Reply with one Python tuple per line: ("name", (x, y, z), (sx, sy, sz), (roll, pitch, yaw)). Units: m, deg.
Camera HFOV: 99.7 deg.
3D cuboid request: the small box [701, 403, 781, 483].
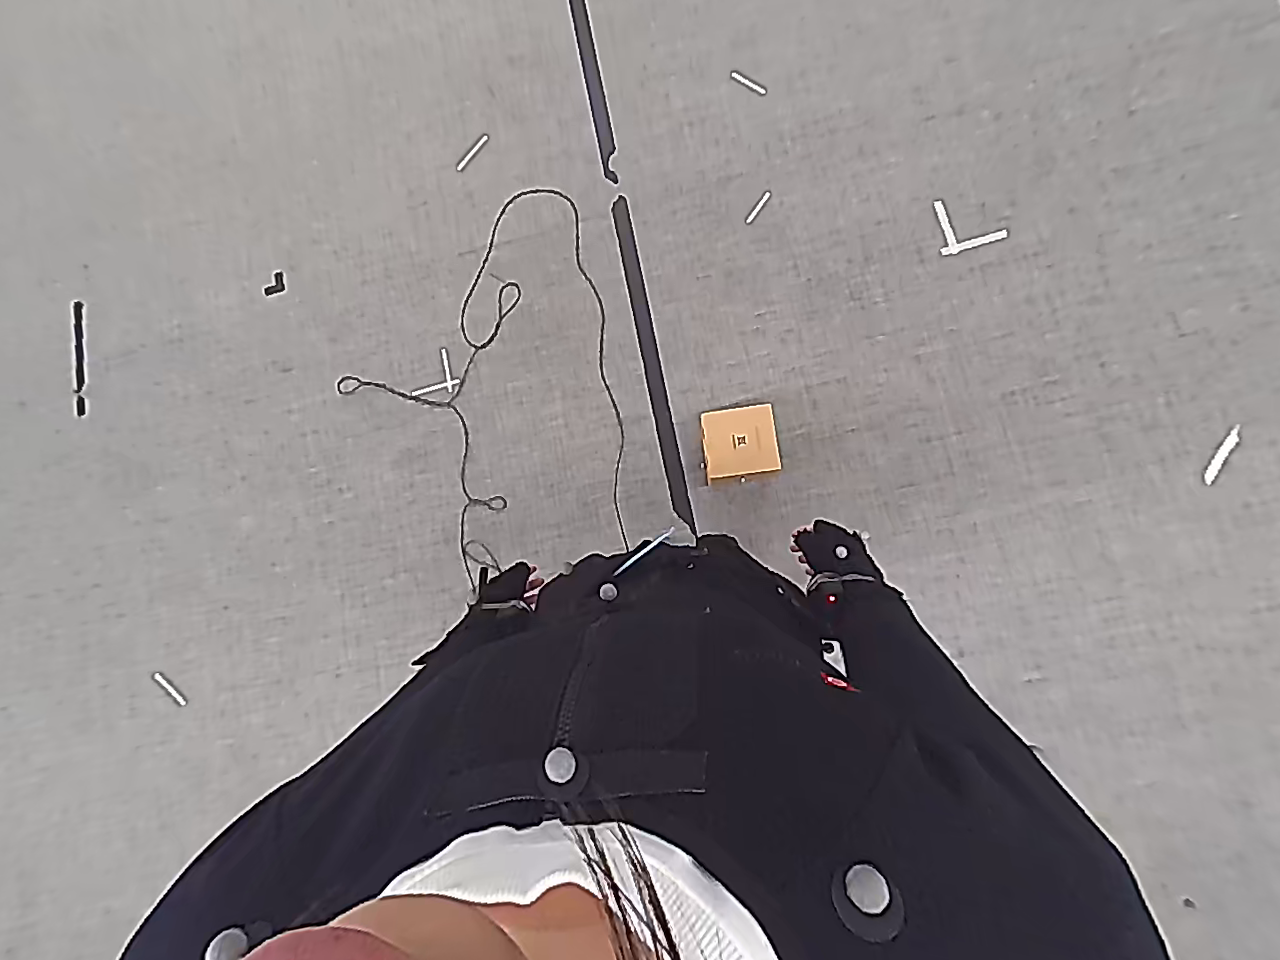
("small box", (0.256, -0.088, 1.395), (0.179, 0.176, 0.168), (-7, 83, 6))
